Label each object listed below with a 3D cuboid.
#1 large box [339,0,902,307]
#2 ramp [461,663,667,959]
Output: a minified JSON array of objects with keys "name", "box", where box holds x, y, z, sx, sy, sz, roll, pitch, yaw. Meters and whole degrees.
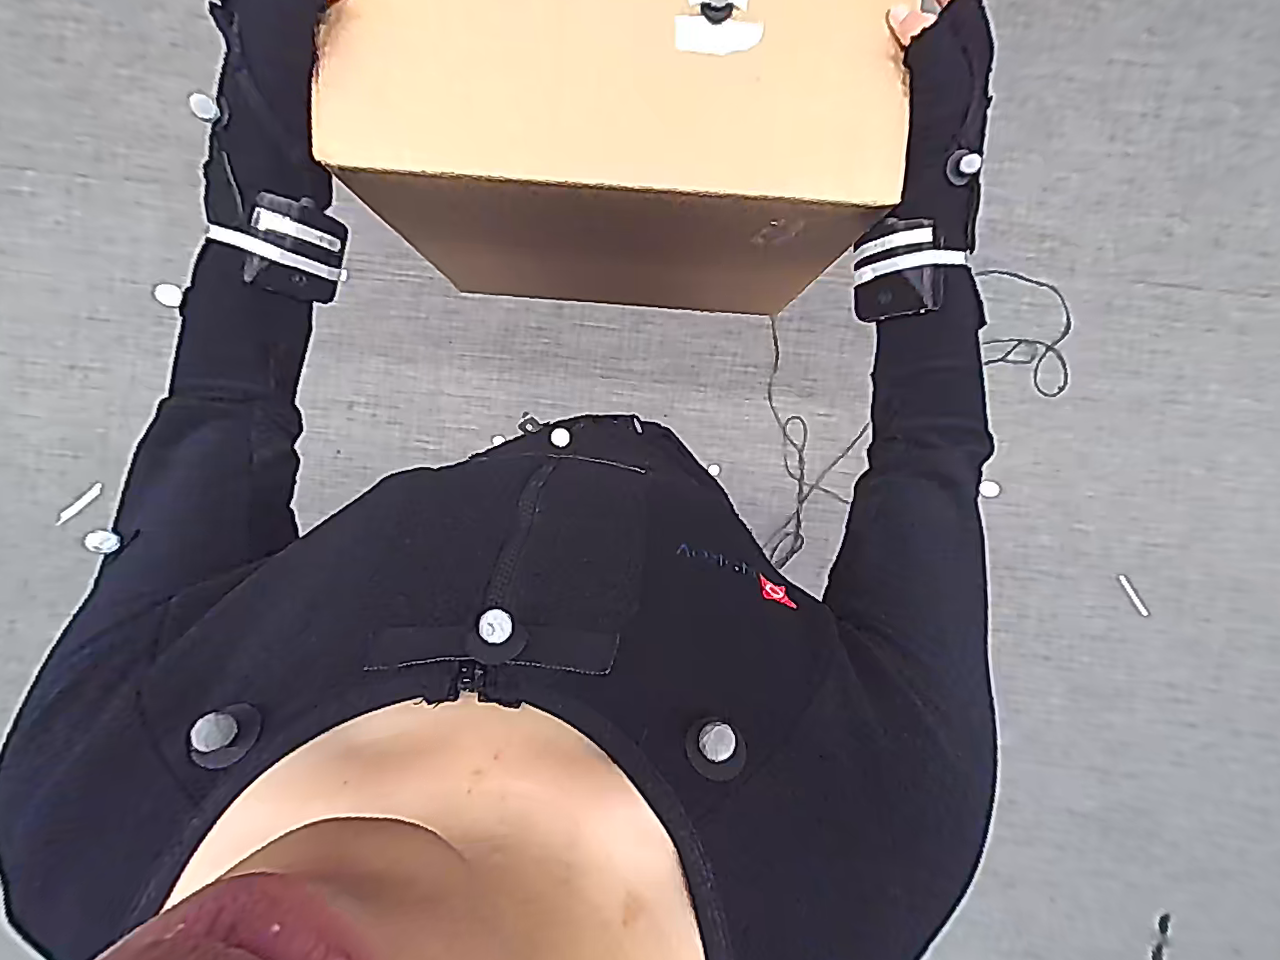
[{"name":"large box","box":[-0.014,-0.372,0.529,0.408,0.320,0.320,3,93,-2]},{"name":"ramp","box":[-0.208,1.024,1.461,0.509,0.206,0.991,4,93,1]}]
